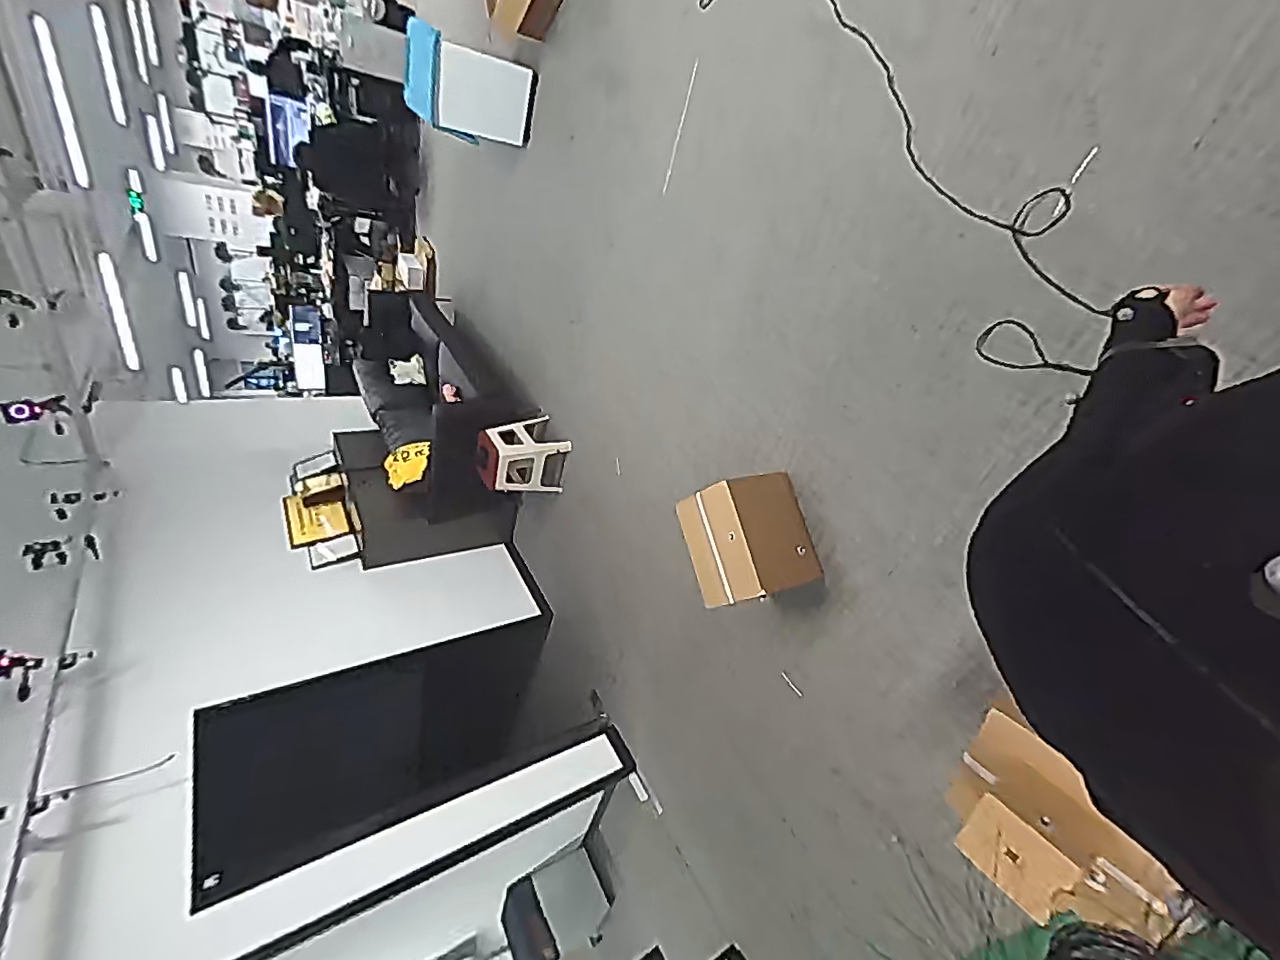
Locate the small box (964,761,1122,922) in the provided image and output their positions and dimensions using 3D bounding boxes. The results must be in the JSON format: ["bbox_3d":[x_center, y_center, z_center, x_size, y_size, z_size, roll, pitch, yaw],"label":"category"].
[{"bbox_3d":[0.796,0.702,1.070,0.179,0.176,0.168,39,125,47],"label":"small box"}]

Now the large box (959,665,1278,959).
[{"bbox_3d":[1.015,0.684,1.185,0.408,0.320,0.320,34,125,47],"label":"large box"}]
